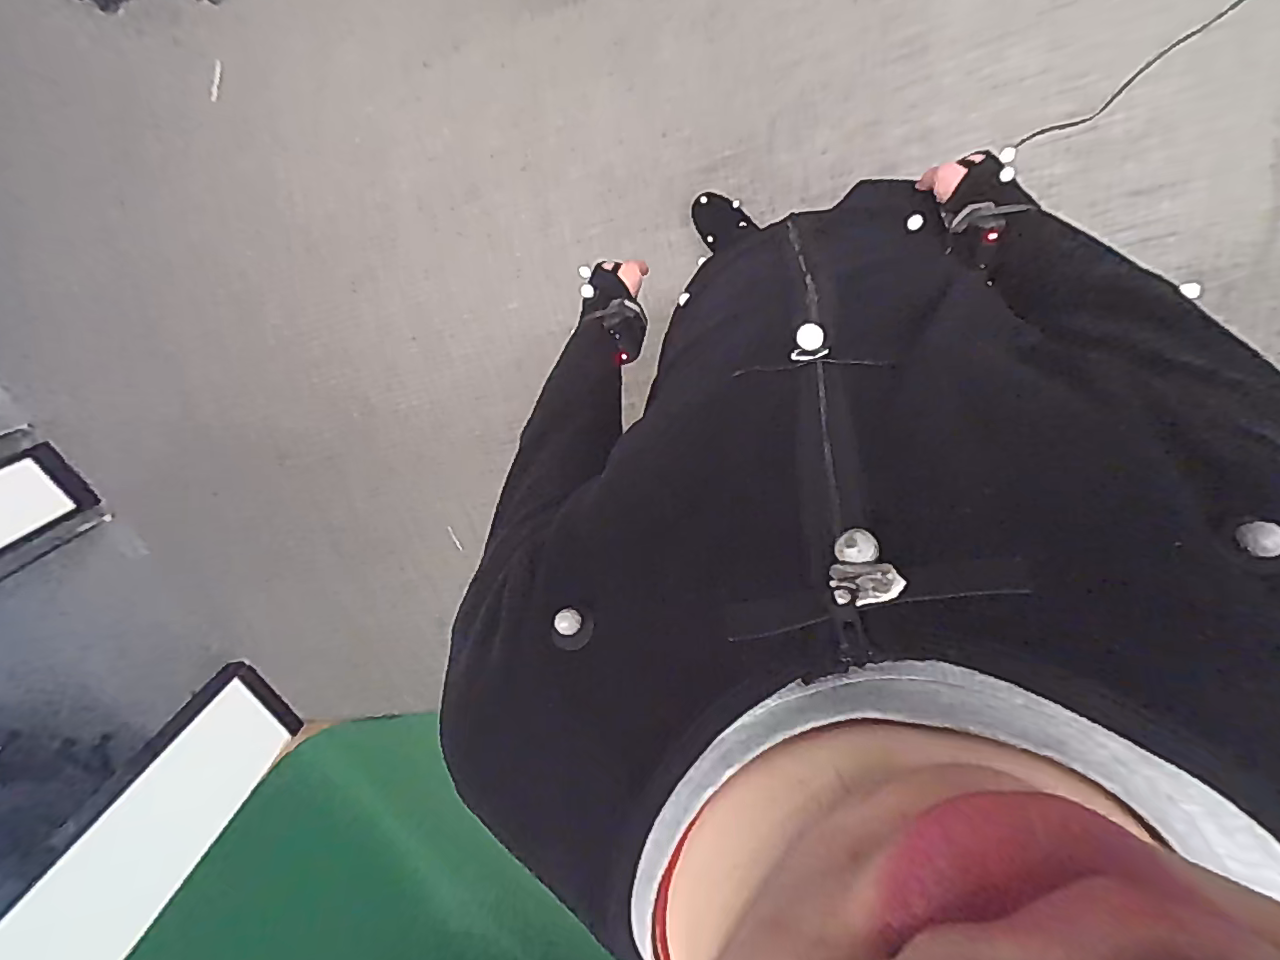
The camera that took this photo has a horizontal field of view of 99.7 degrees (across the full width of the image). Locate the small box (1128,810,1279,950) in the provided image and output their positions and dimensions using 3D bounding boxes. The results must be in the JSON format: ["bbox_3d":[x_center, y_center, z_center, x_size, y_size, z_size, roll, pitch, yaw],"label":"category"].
[{"bbox_3d":[1.109,0.770,1.053,0.179,0.176,0.168,-12,117,19],"label":"small box"}]
